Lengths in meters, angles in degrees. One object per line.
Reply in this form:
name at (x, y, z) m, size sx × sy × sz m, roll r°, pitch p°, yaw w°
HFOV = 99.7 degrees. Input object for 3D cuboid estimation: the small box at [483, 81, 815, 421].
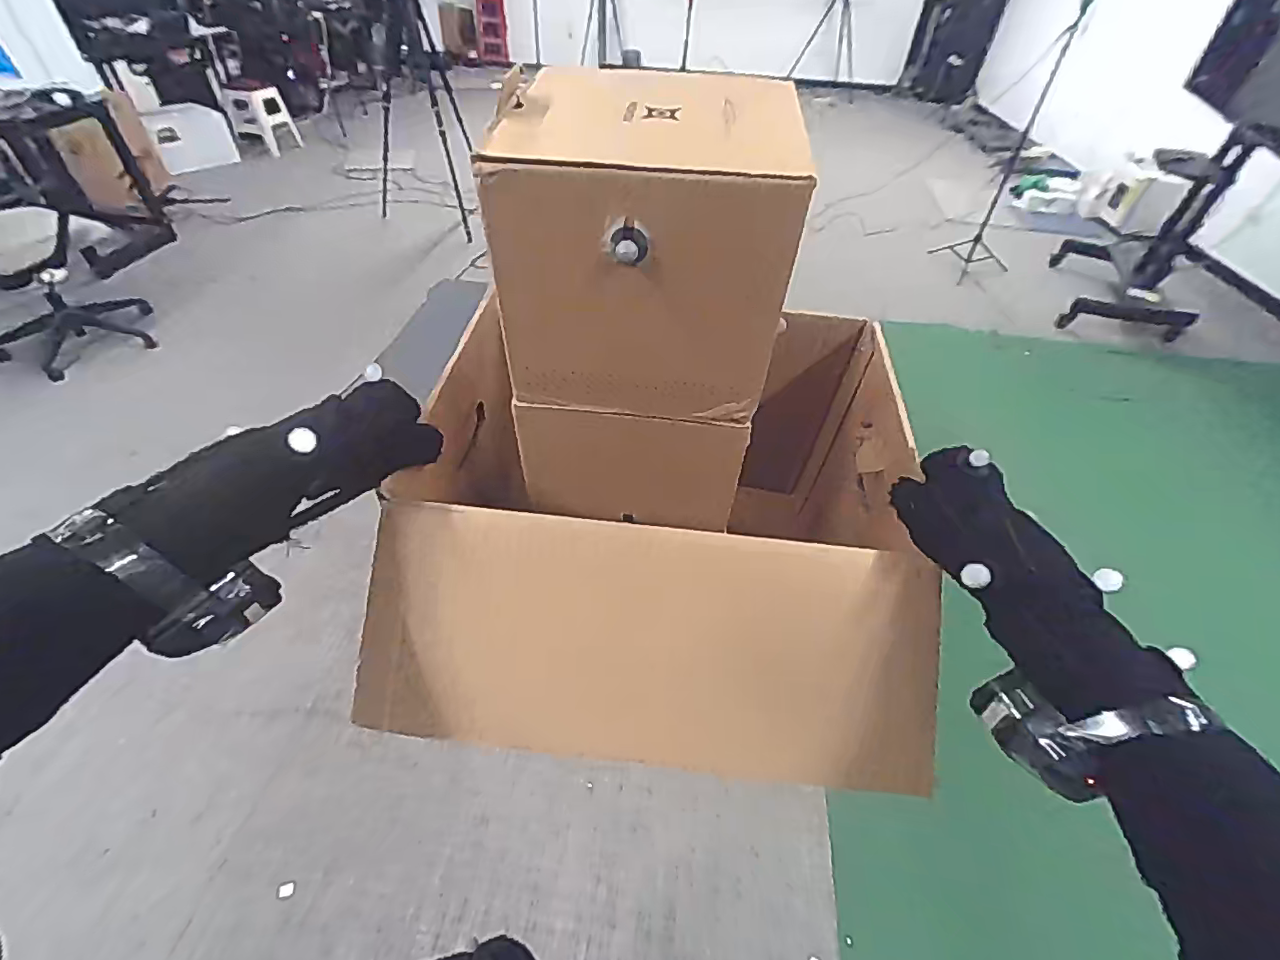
small box at (0.008, -0.159, 0.388) m, size 0.179 × 0.176 × 0.168 m, roll 5°, pitch 51°, yaw 1°
